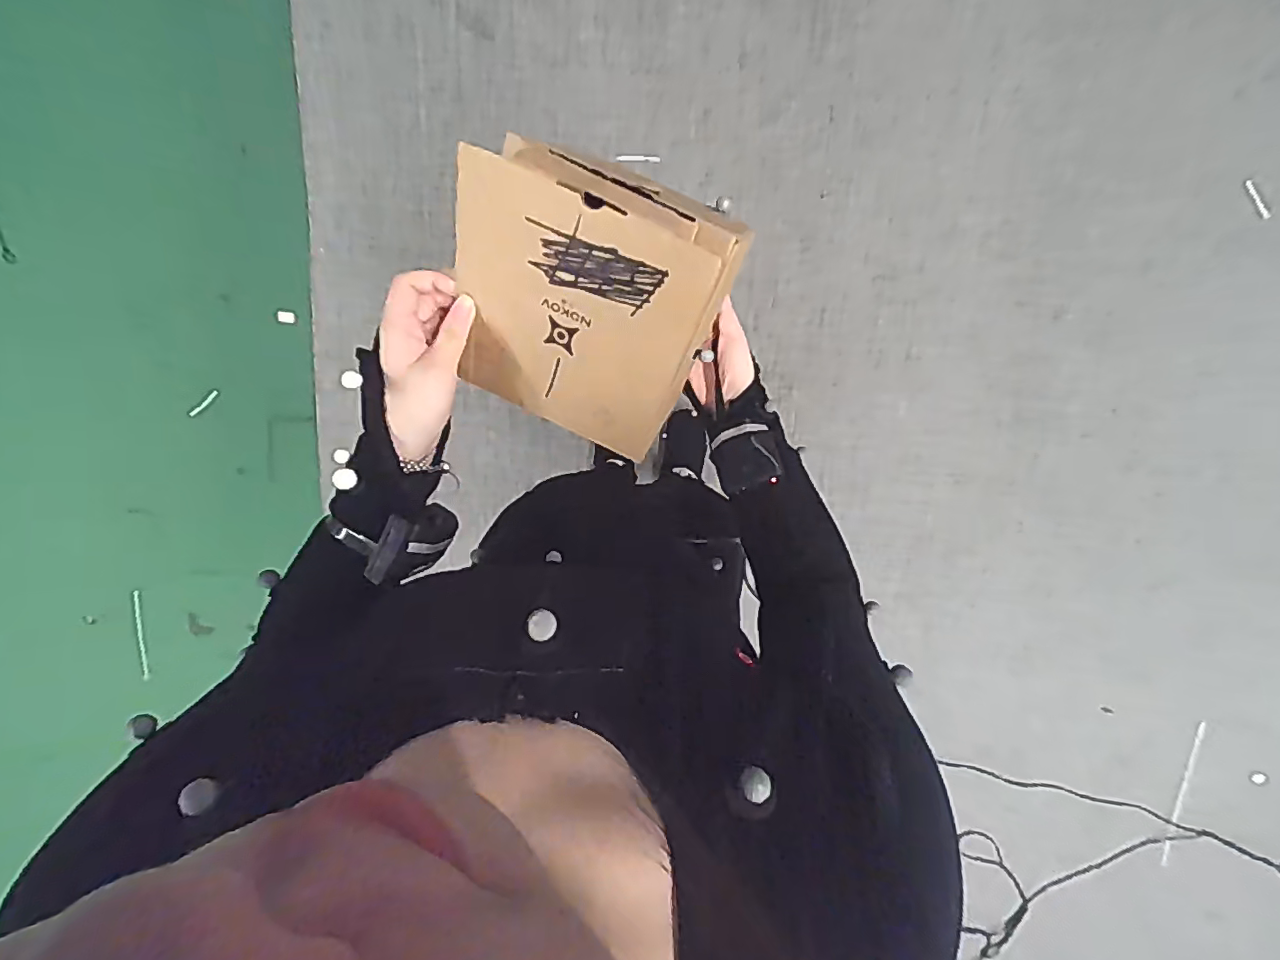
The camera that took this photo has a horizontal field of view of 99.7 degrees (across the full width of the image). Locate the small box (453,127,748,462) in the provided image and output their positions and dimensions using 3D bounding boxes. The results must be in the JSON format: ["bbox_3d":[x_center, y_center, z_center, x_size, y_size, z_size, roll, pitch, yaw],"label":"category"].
[{"bbox_3d":[-0.022,-0.151,0.442,0.168,0.176,0.179,26,120,2],"label":"small box"}]

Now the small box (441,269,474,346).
[{"bbox_3d":[-0.375,-0.417,1.341,0.168,0.176,0.179,1,101,5],"label":"small box"}]
